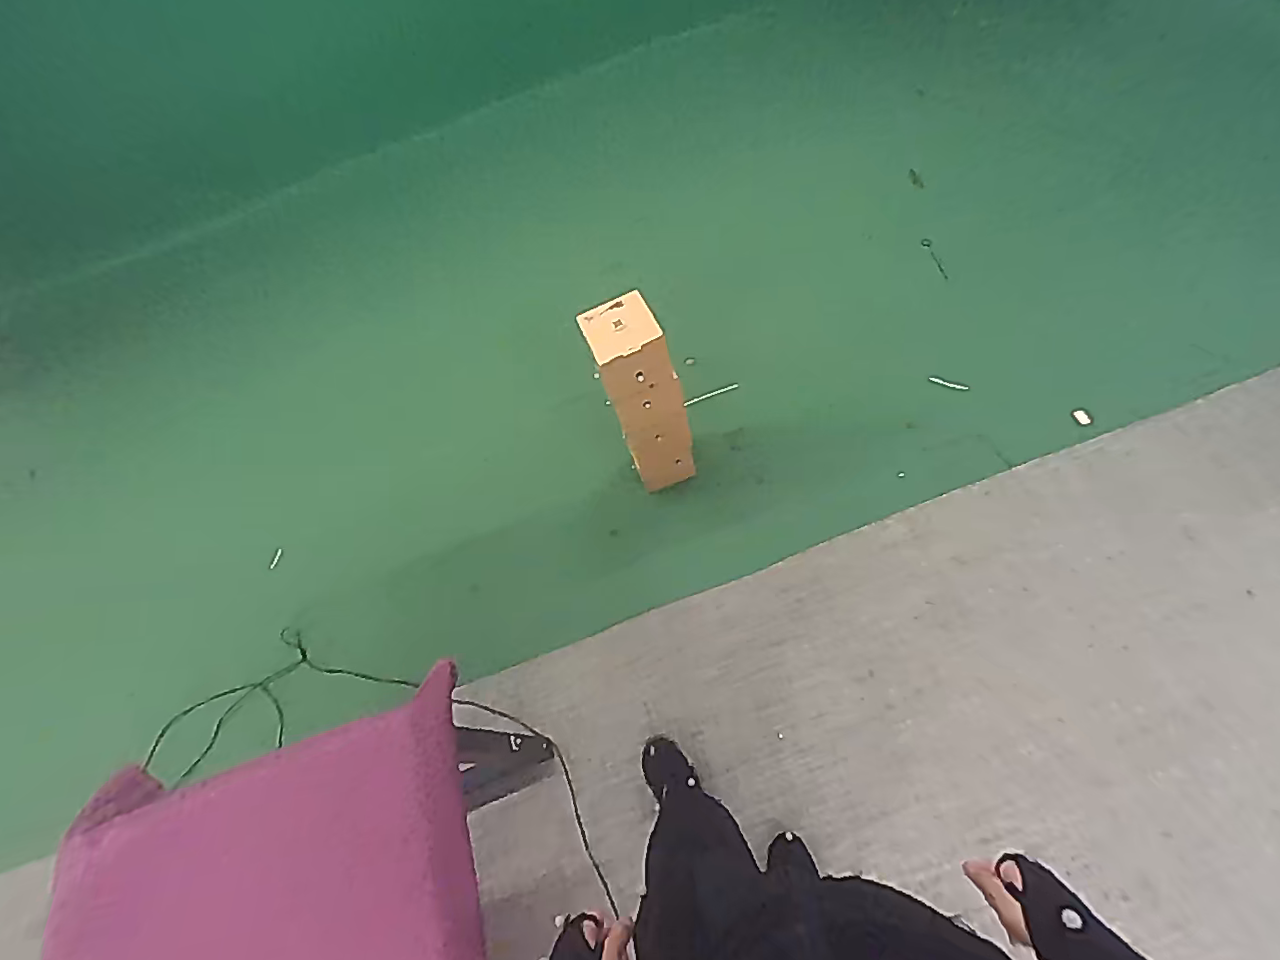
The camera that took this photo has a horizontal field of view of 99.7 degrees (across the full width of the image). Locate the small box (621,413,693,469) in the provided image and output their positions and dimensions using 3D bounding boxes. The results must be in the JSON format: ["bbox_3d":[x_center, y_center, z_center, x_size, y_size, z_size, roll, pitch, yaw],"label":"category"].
[{"bbox_3d":[0.050,-0.163,1.617,0.179,0.176,0.168,-24,60,0],"label":"small box"}]

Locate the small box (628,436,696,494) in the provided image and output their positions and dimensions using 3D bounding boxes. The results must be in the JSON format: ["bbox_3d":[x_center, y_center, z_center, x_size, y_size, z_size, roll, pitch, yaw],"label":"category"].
[{"bbox_3d":[0.077,-0.082,1.756,0.179,0.176,0.168,-22,59,1],"label":"small box"}]

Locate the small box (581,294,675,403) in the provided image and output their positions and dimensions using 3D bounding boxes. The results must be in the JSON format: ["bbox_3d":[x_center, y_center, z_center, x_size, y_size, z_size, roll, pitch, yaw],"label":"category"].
[{"bbox_3d":[-0.025,-0.314,1.337,0.168,0.176,0.179,-24,60,0],"label":"small box"}]

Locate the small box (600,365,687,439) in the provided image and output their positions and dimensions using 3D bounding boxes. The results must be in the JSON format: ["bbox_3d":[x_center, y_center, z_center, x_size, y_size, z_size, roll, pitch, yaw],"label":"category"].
[{"bbox_3d":[0.015,-0.240,1.477,0.179,0.176,0.168,-25,60,-2],"label":"small box"}]
